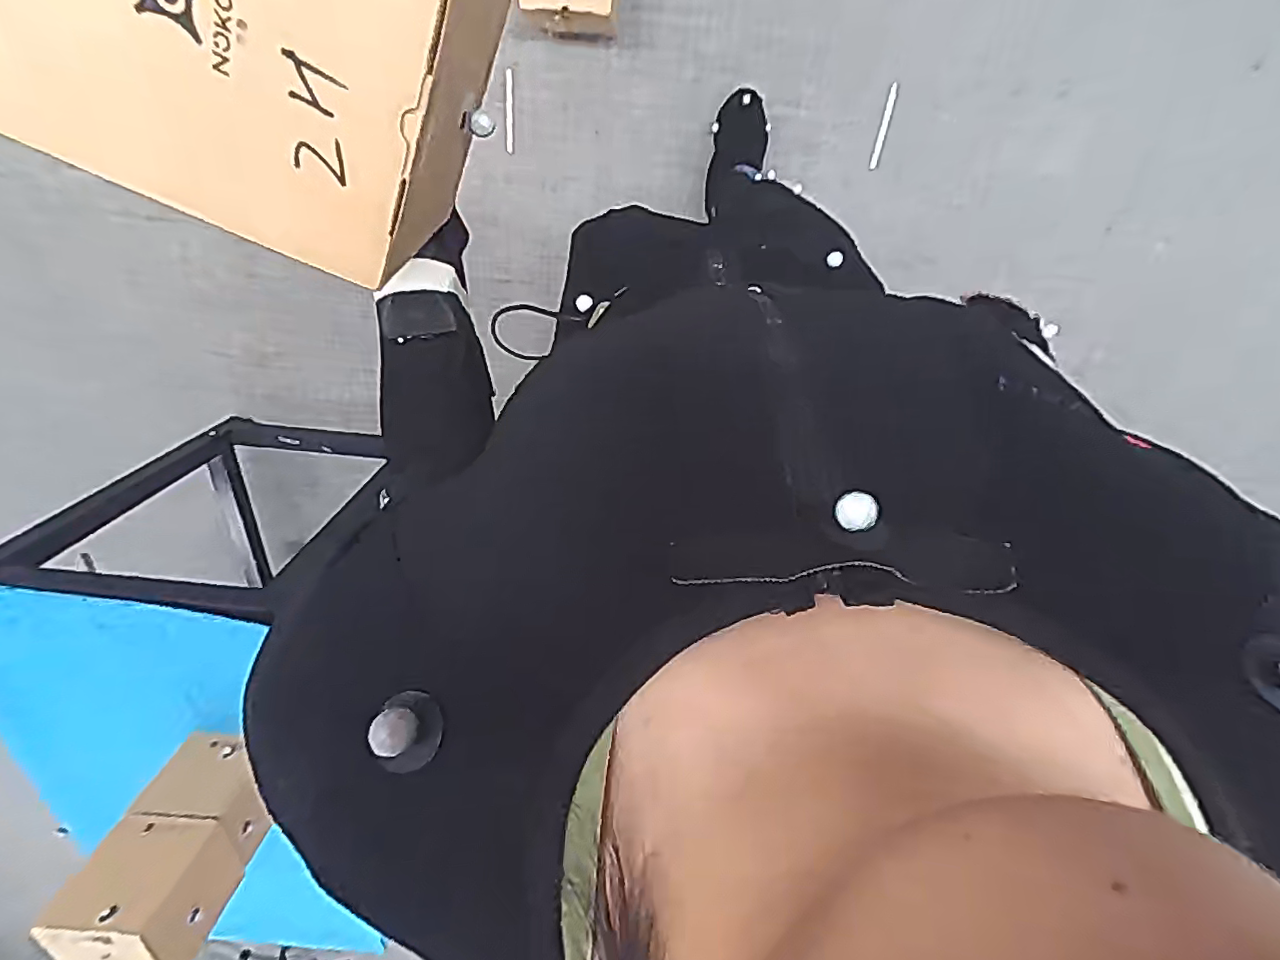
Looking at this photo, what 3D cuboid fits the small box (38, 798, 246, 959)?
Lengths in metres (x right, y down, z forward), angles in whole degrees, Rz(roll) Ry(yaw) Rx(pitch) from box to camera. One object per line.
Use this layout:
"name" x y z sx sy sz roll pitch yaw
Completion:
"small box" -0.822 0.679 0.919 0.168 0.176 0.179 3 119 2

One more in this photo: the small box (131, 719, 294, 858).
"small box" -0.822 0.606 1.065 0.168 0.176 0.179 6 120 0

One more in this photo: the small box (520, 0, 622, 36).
"small box" -0.119 -0.939 0.983 0.168 0.176 0.179 5 119 0

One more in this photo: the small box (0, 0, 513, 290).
"small box" -0.182 -0.236 0.279 0.179 0.176 0.168 23 124 -23
